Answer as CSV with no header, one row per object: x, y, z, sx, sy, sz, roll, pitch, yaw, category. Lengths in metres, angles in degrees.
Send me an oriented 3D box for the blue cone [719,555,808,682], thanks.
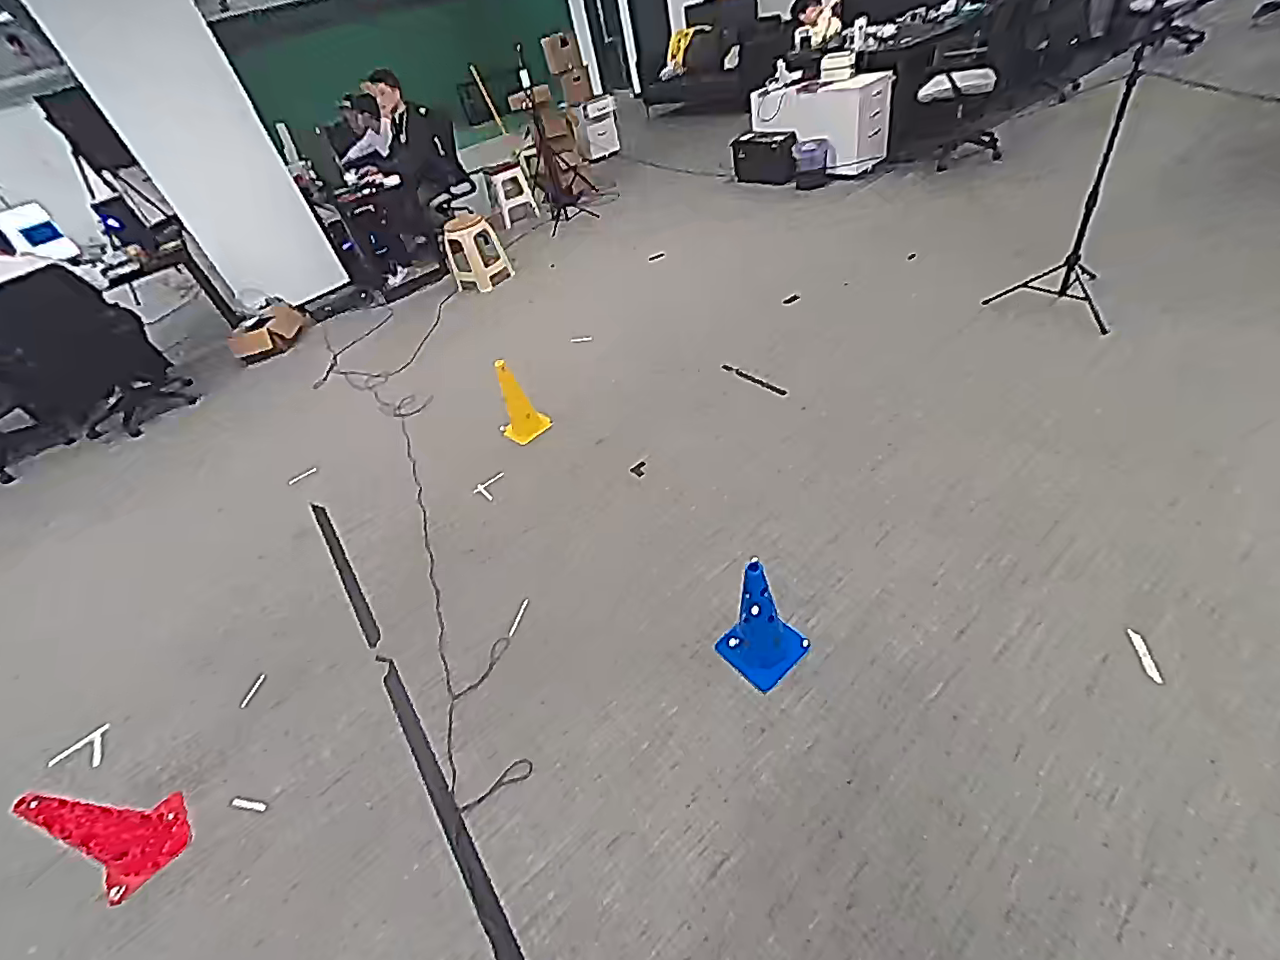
0.306,0.333,1.397,0.192,0.380,0.193,-34,44,-21,blue cone

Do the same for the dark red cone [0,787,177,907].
-1.375,0.851,1.326,0.202,0.394,0.201,26,55,38,dark red cone
